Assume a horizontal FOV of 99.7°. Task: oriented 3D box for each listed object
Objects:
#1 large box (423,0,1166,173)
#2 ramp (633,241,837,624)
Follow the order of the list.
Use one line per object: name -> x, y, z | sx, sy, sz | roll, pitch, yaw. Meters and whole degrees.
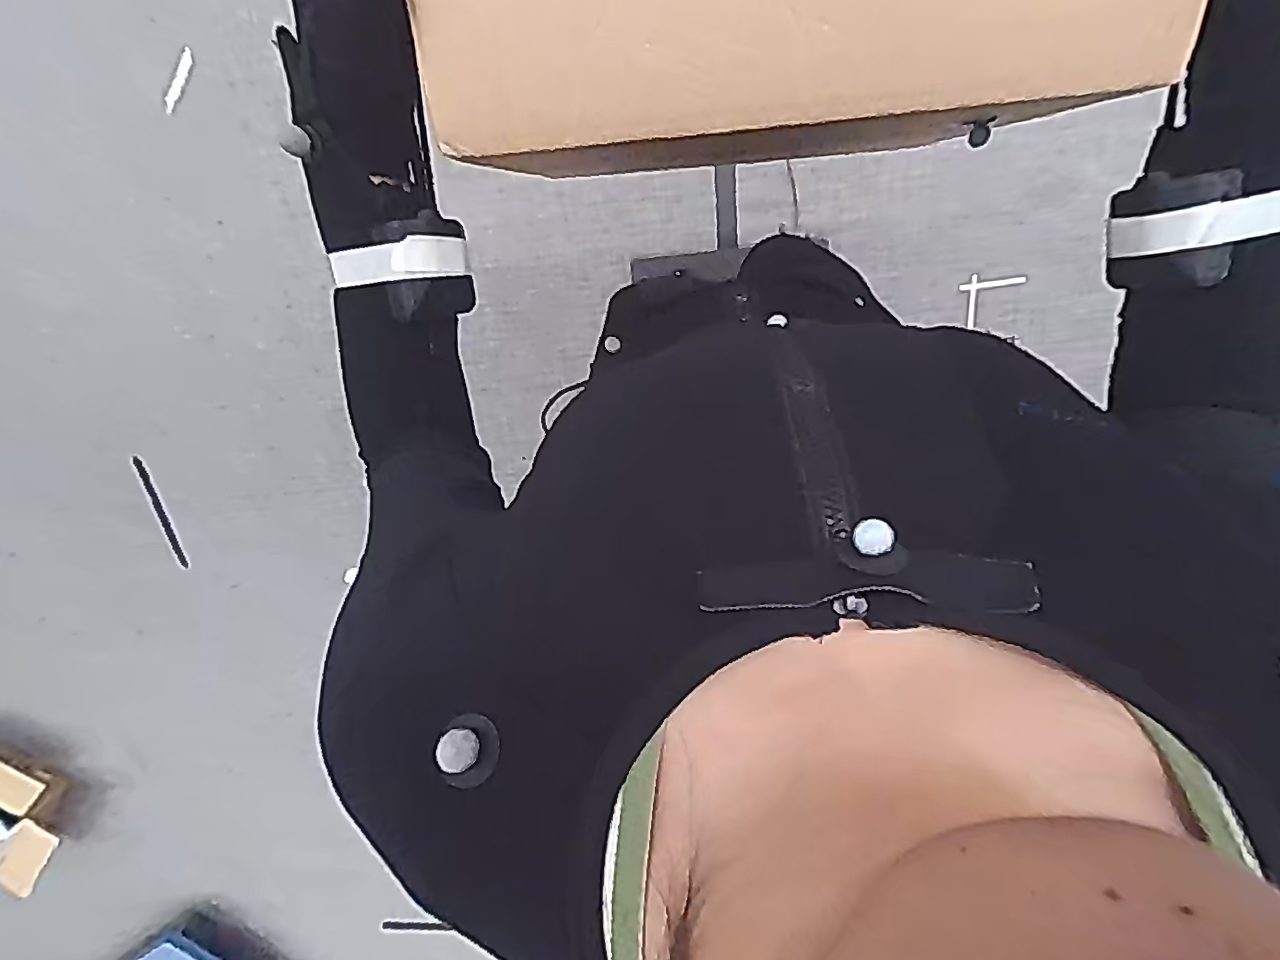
large box -> 0.079, -0.414, 0.379 | 0.408, 0.320, 0.320 | -3, 116, 5
ramp -> 0.261, -0.090, 1.451 | 0.509, 0.206, 0.991 | -5, 109, 8
